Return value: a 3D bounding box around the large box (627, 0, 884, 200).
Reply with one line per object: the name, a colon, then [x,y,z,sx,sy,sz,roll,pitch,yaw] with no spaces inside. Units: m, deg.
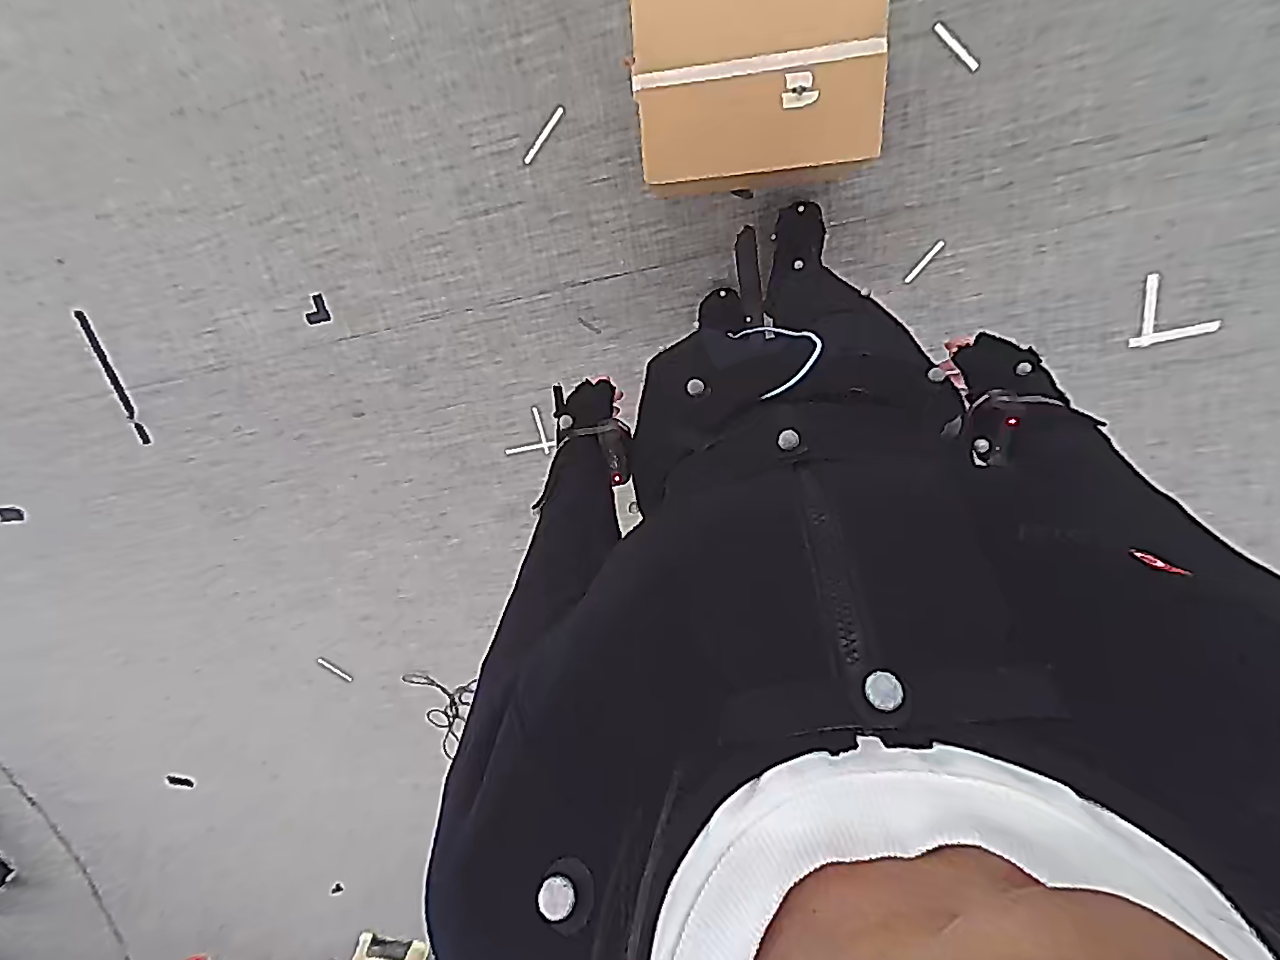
large box: [0.201,-0.736,1.021,0.408,0.320,0.320,-3,113,7]
